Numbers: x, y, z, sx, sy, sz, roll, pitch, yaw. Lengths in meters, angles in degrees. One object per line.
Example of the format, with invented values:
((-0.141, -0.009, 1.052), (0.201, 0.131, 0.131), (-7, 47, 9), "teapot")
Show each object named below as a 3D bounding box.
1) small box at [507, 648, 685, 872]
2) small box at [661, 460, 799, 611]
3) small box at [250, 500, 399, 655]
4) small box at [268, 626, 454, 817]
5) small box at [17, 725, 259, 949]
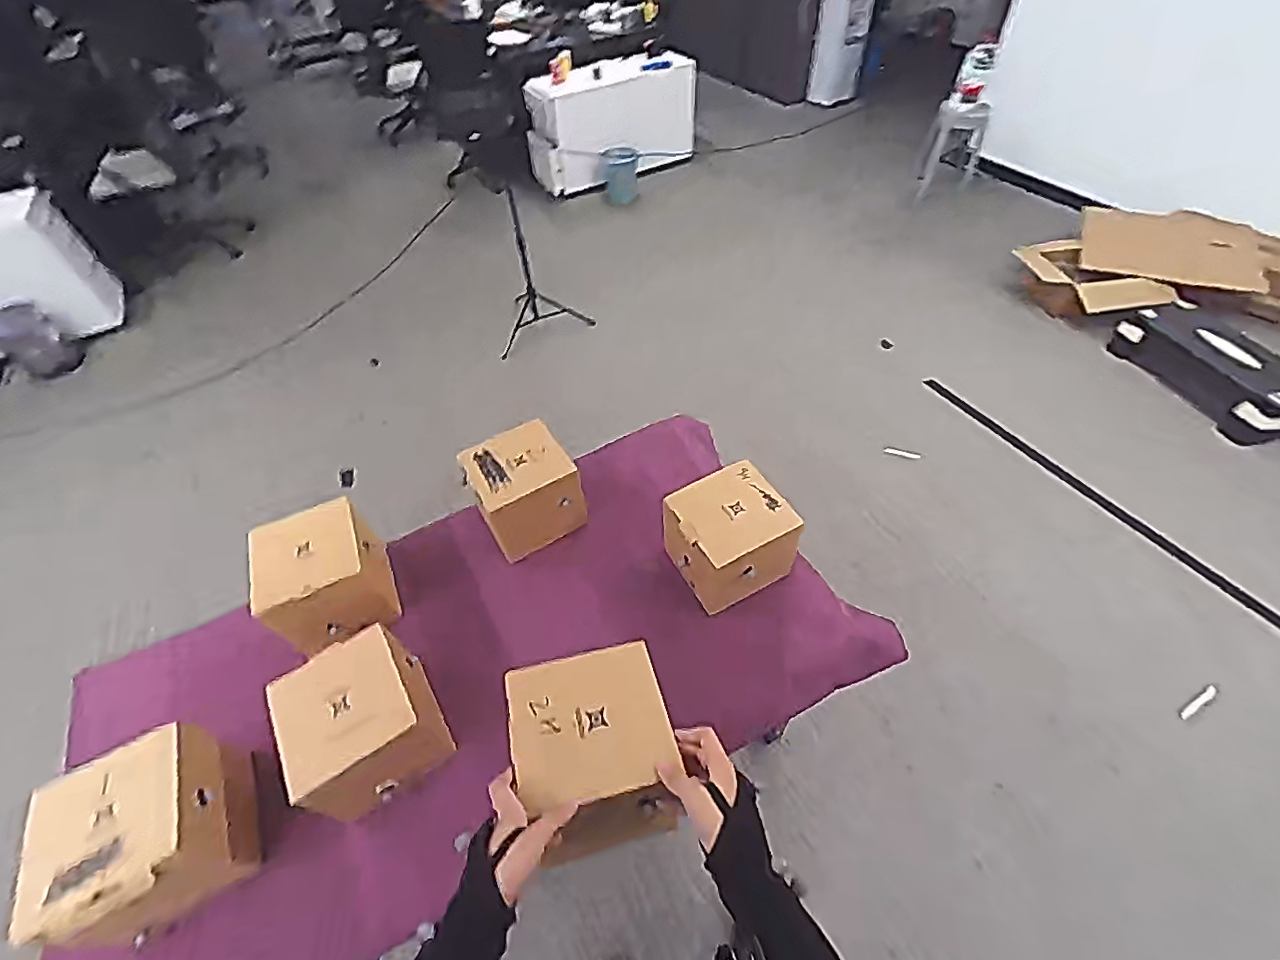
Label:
((-0.057, 0.334, 0.650), (0.179, 0.176, 0.168), (-10, 41, -11), "small box")
((0.154, 0.103, 0.961), (0.179, 0.176, 0.168), (-25, 54, -14), "small box")
((-0.548, 0.172, 0.949), (0.168, 0.176, 0.179), (-23, 53, -15), "small box")
((-0.401, 0.355, 0.793), (0.168, 0.176, 0.179), (-30, 55, -18), "small box")
((-0.639, 0.467, 0.714), (0.168, 0.176, 0.179), (-27, 52, -18), "small box")
